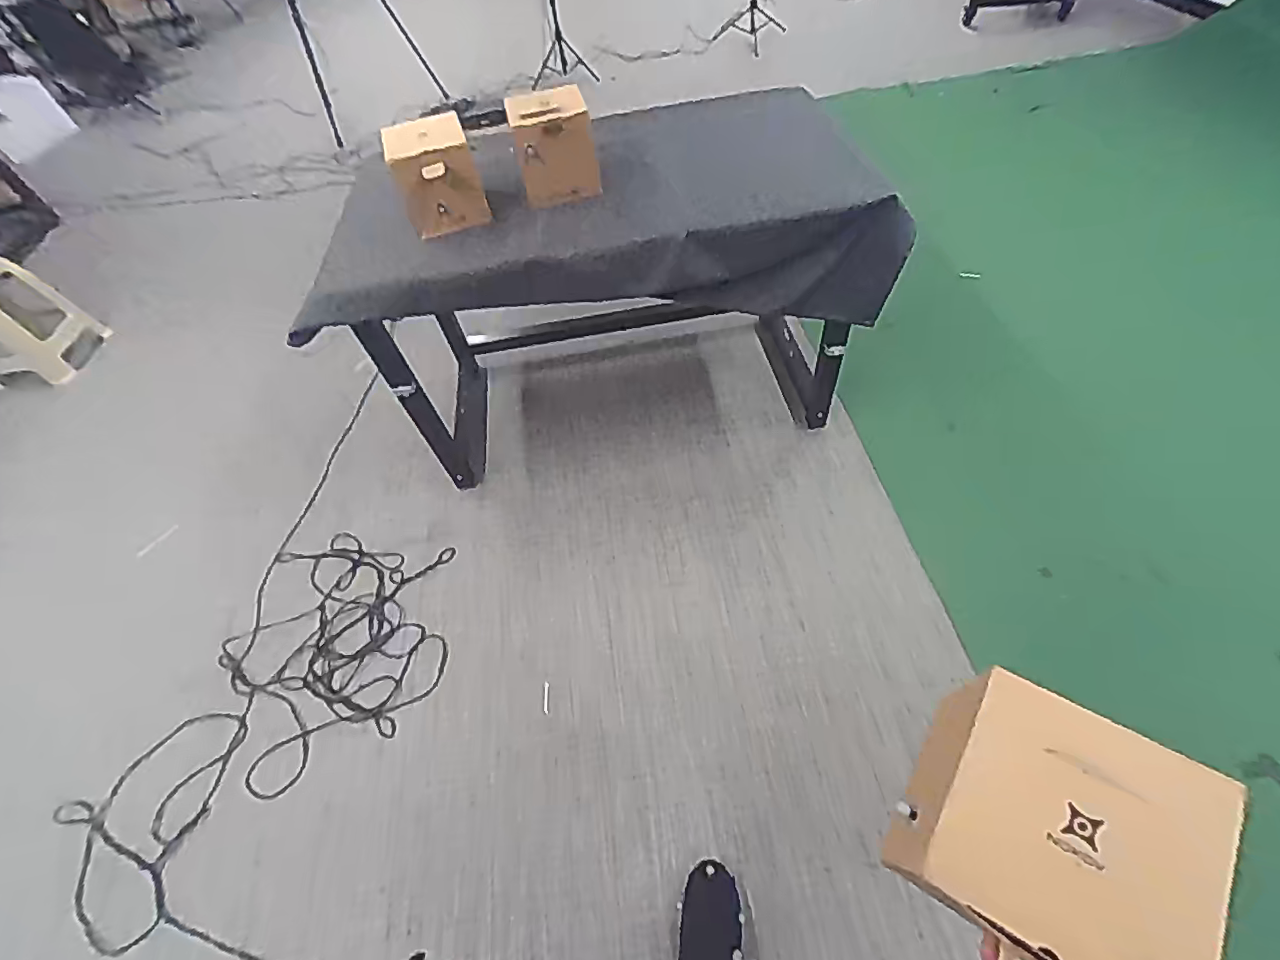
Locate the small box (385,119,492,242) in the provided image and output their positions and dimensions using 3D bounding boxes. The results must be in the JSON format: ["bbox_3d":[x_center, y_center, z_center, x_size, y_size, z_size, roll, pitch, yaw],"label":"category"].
[{"bbox_3d":[-0.439,-0.654,1.186,0.168,0.176,0.179,-19,54,-7],"label":"small box"}]

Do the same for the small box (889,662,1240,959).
[{"bbox_3d":[0.329,0.289,0.454,0.168,0.176,0.179,24,66,23],"label":"small box"}]
